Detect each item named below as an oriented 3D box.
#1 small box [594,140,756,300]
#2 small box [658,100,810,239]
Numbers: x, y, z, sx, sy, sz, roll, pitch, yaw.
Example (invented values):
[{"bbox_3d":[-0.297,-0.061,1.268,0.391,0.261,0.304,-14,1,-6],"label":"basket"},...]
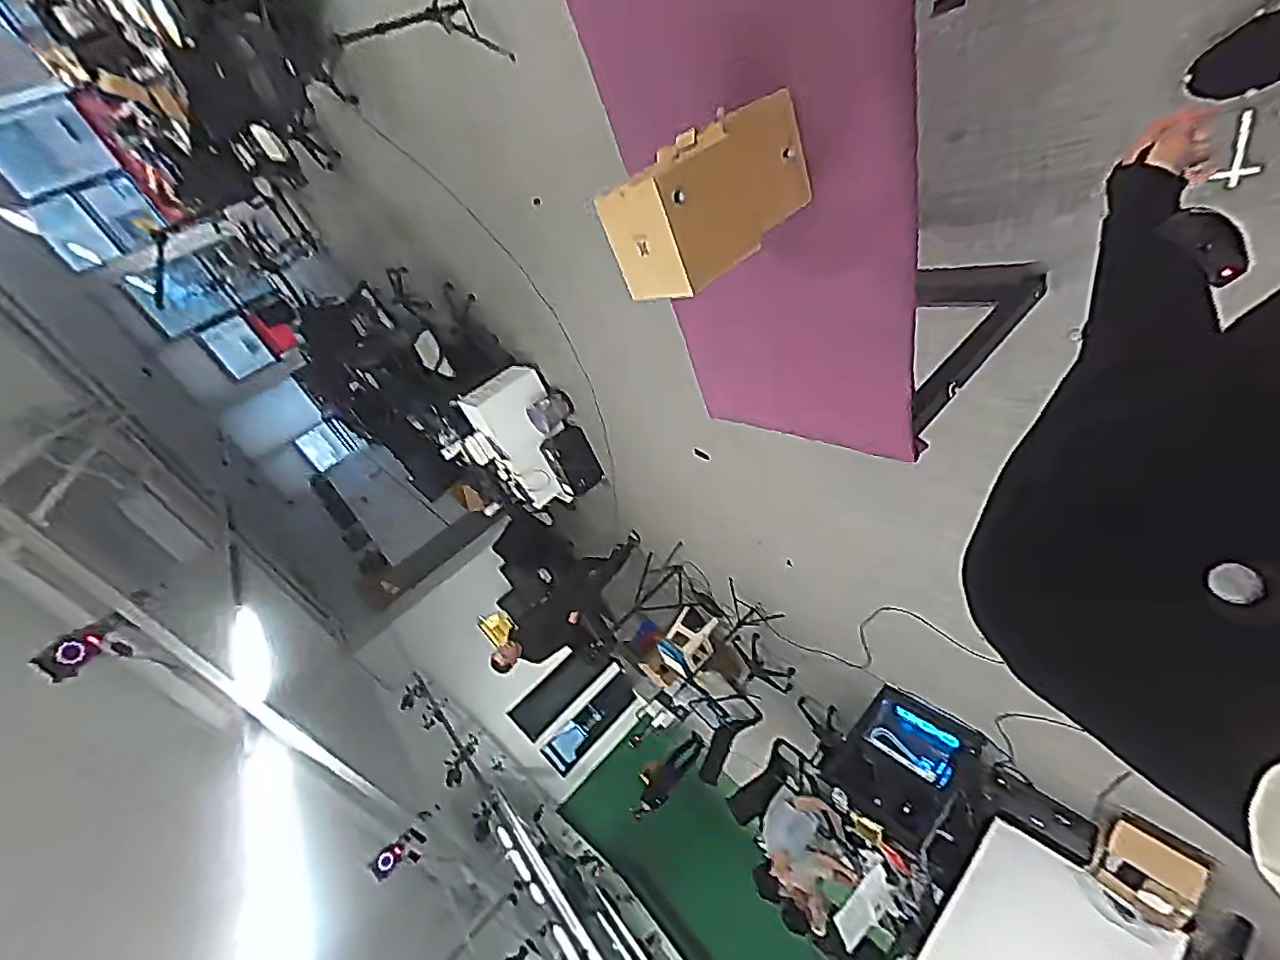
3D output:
[{"bbox_3d":[0.063,-0.414,0.880,0.168,0.176,0.179,21,143,52],"label":"small box"},{"bbox_3d":[0.167,-0.527,0.938,0.168,0.176,0.179,21,143,52],"label":"small box"}]
